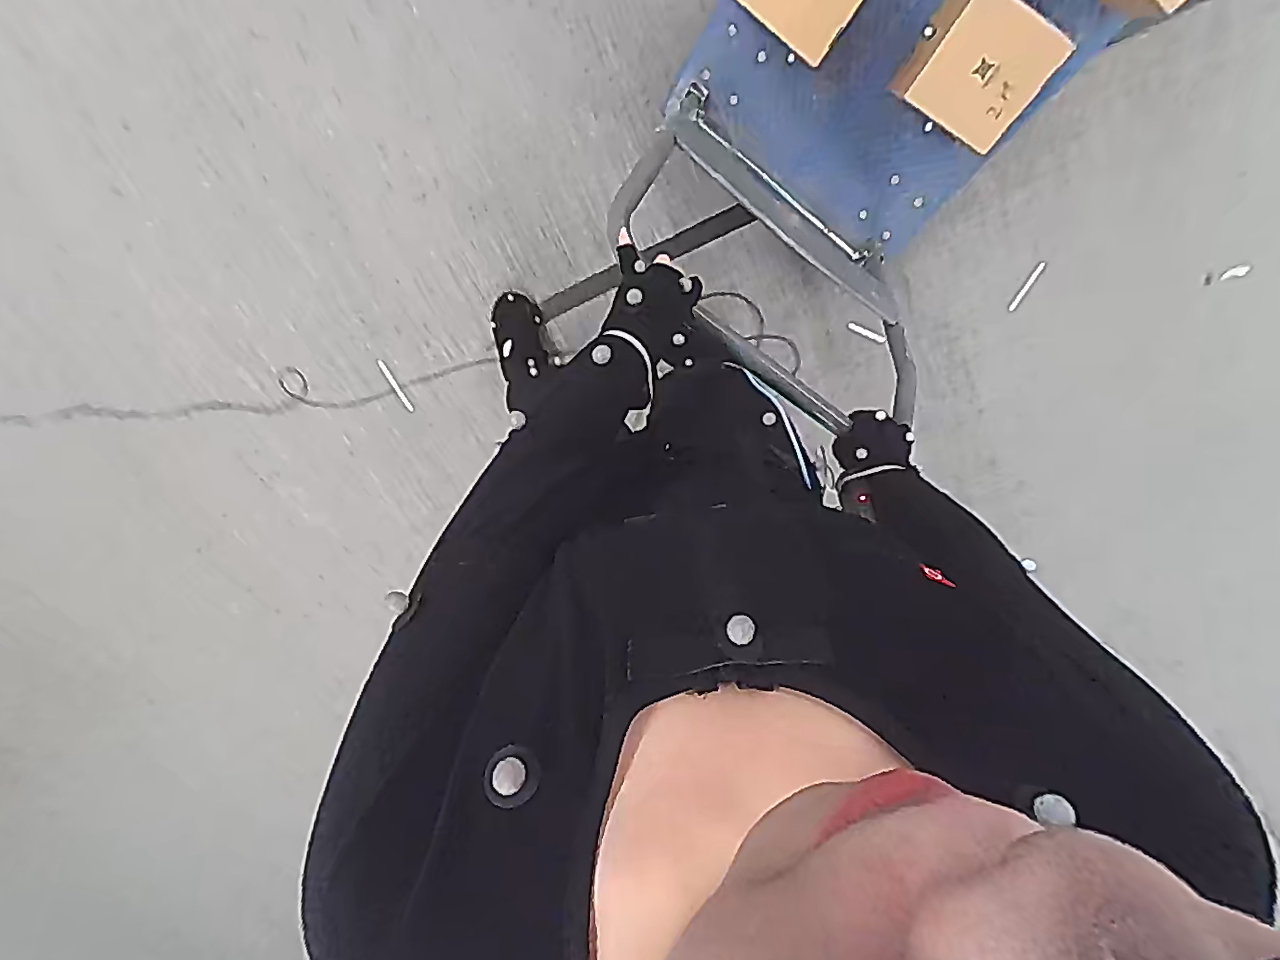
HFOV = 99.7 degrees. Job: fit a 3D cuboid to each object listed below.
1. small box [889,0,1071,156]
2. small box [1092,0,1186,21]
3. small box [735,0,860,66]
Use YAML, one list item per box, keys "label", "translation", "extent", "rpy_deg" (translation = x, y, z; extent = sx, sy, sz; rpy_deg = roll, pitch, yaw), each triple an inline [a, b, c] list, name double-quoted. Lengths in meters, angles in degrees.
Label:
- label: "small box"
  translation: [0.546, -0.679, 0.899]
  extent: [0.179, 0.176, 0.168]
  rpy_deg: [28, 130, -10]
- label: "small box"
  translation: [0.741, -0.796, 0.755]
  extent: [0.168, 0.176, 0.179]
  rpy_deg: [33, 130, -15]
- label: "small box"
  translation: [0.262, -0.803, 0.860]
  extent: [0.179, 0.176, 0.168]
  rpy_deg: [29, 130, -14]
